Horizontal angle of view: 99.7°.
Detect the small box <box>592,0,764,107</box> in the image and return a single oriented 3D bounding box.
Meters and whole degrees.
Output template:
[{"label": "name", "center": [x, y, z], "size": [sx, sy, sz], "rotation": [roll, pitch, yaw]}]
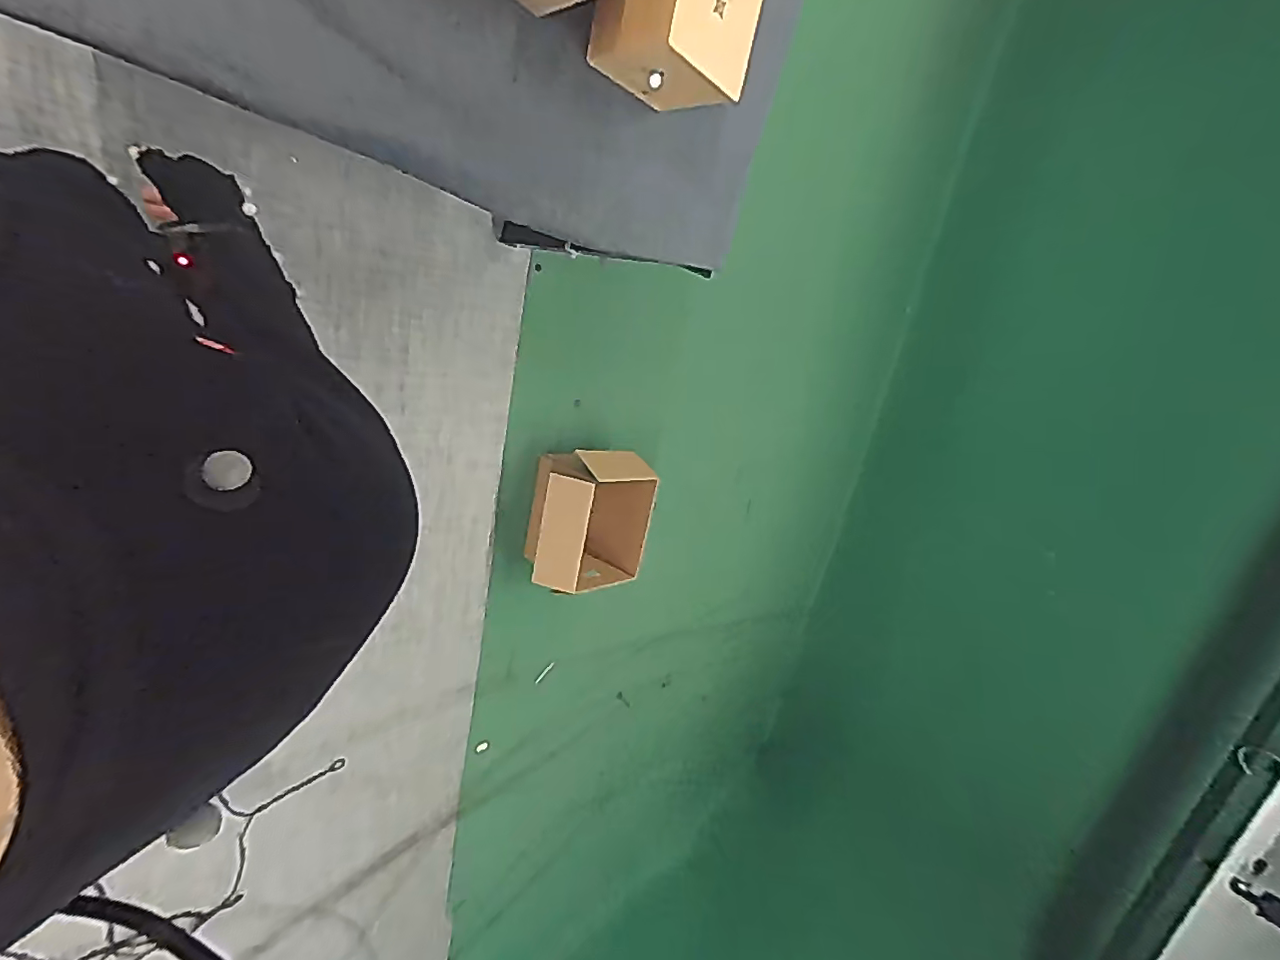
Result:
[{"label": "small box", "center": [0.053, -0.664, 0.770], "size": [0.168, 0.176, 0.179], "rotation": [-4, 113, -47]}]
